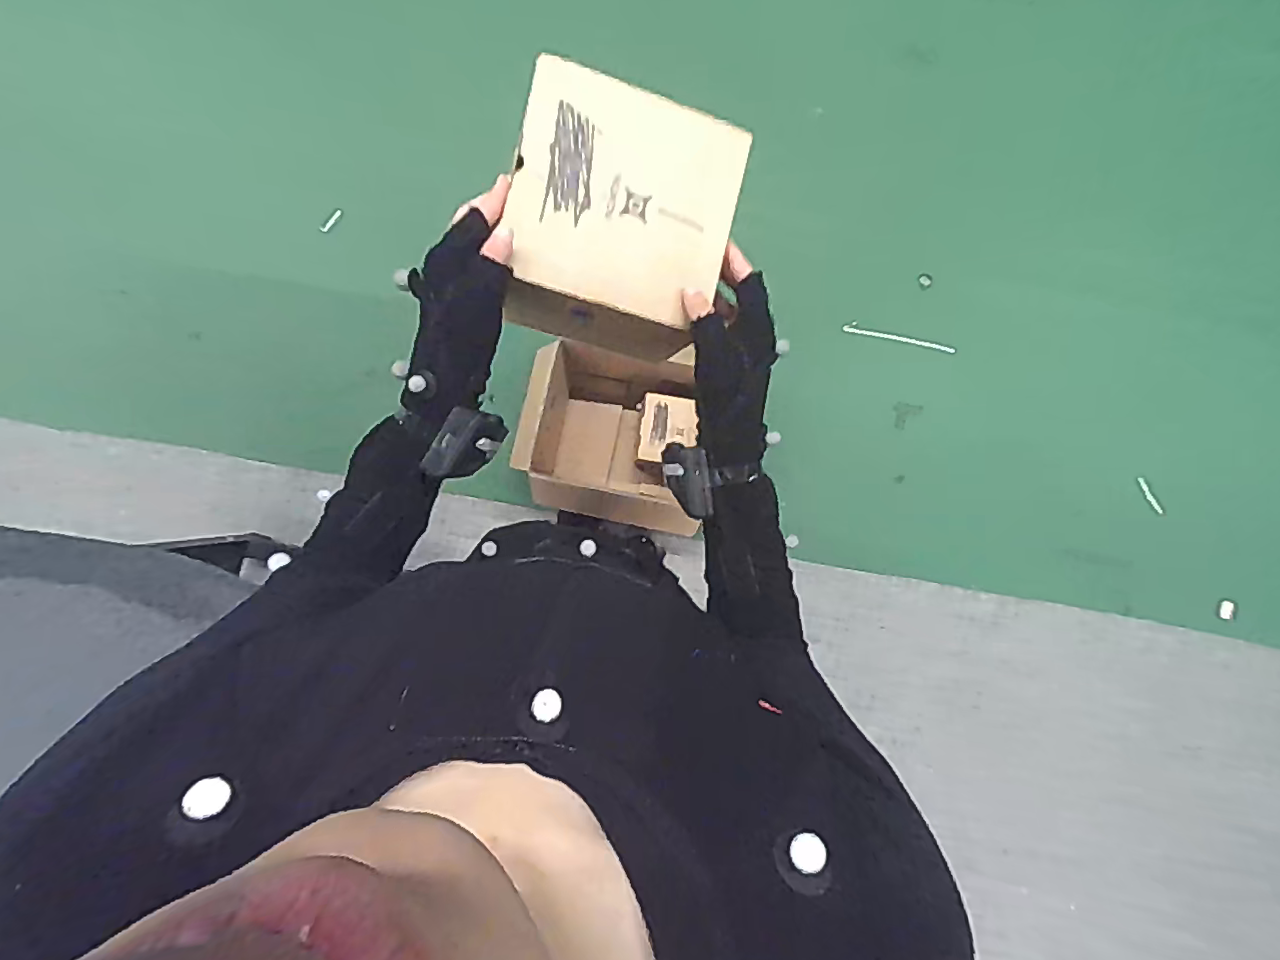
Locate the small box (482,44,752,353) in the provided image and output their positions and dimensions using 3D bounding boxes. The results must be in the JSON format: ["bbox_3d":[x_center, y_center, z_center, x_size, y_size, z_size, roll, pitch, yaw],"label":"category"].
[{"bbox_3d":[-0.028,-0.223,0.485,0.179,0.176,0.168,14,91,-12],"label":"small box"}]
